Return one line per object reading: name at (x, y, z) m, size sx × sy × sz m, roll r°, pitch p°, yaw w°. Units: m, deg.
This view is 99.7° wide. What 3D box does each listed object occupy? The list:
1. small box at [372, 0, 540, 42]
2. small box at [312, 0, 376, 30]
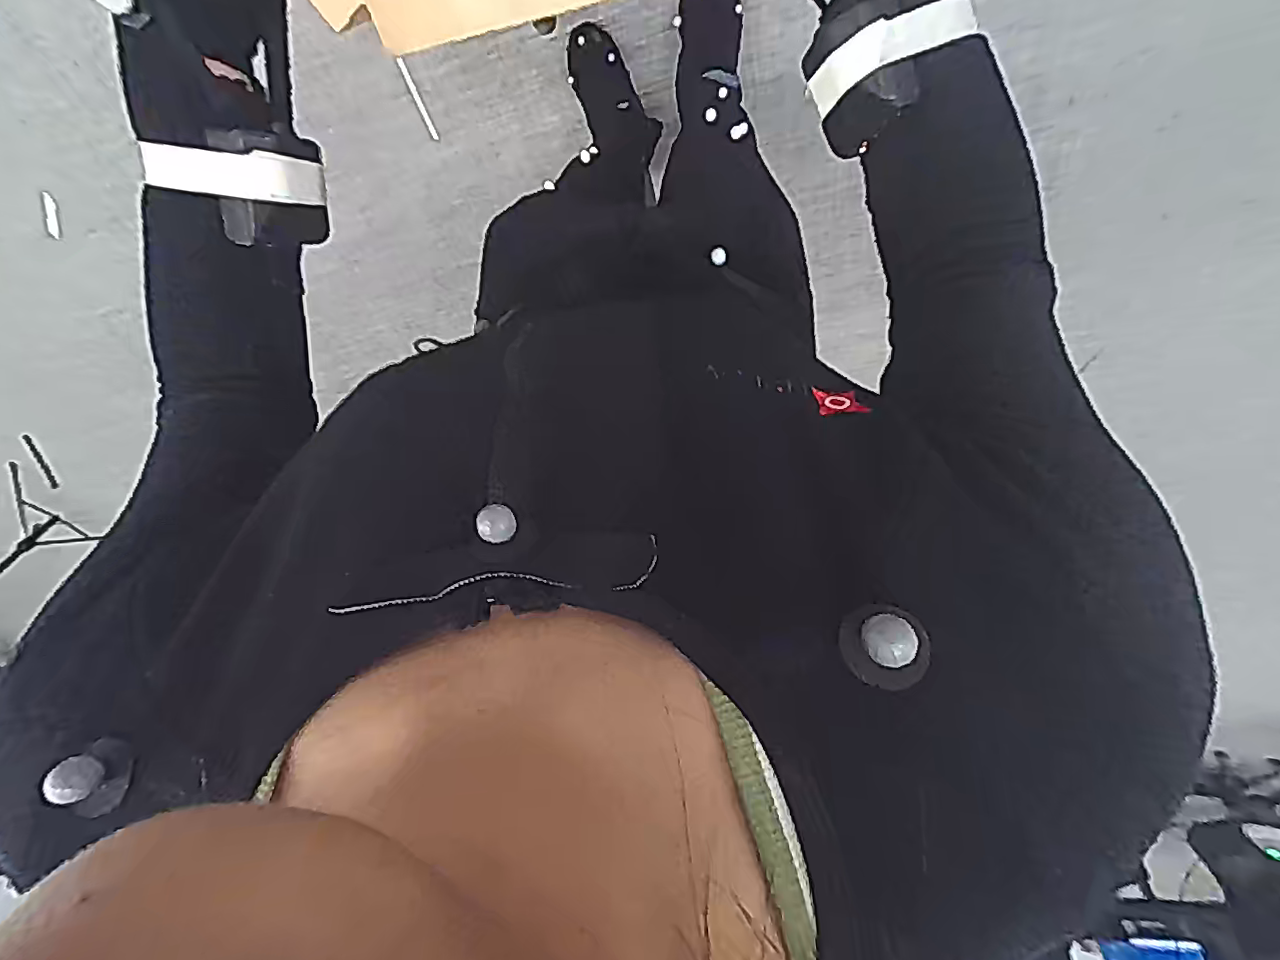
small box at (-0.061, -0.365, 0.281) m, size 0.179 × 0.176 × 0.168 m, roll 9°, pitch 141°, yaw 27°
small box at (-0.416, -0.800, 0.769) m, size 0.168 × 0.176 × 0.179 m, roll -17°, pitch 135°, yaw 26°
